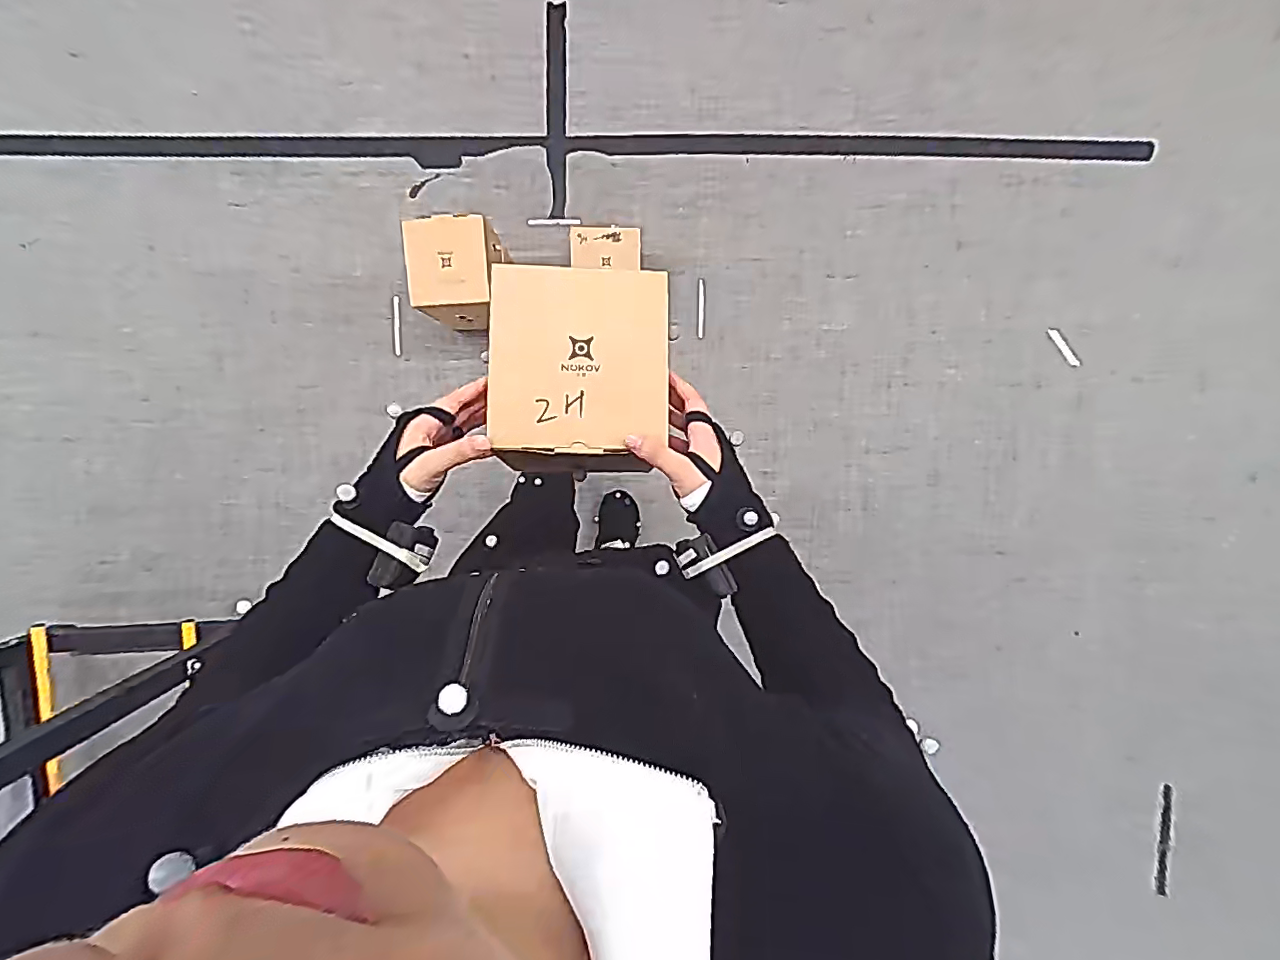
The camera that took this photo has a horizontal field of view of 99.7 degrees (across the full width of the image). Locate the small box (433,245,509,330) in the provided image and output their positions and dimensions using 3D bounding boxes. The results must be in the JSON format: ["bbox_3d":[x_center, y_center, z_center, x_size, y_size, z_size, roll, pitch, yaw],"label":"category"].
[{"bbox_3d":[-0.403,-0.470,1.338,0.179,0.176,0.168,-2,96,-2],"label":"small box"}]

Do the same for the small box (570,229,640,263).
[{"bbox_3d":[-0.085,-0.509,1.349,0.168,0.176,0.179,-1,96,-2],"label":"small box"}]

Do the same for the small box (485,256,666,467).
[{"bbox_3d":[-0.064,-0.112,0.578,0.168,0.176,0.179,1,84,-4],"label":"small box"}]

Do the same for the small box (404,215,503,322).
[{"bbox_3d":[-0.392,-0.452,1.177,0.168,0.176,0.179,-4,97,0],"label":"small box"}]
